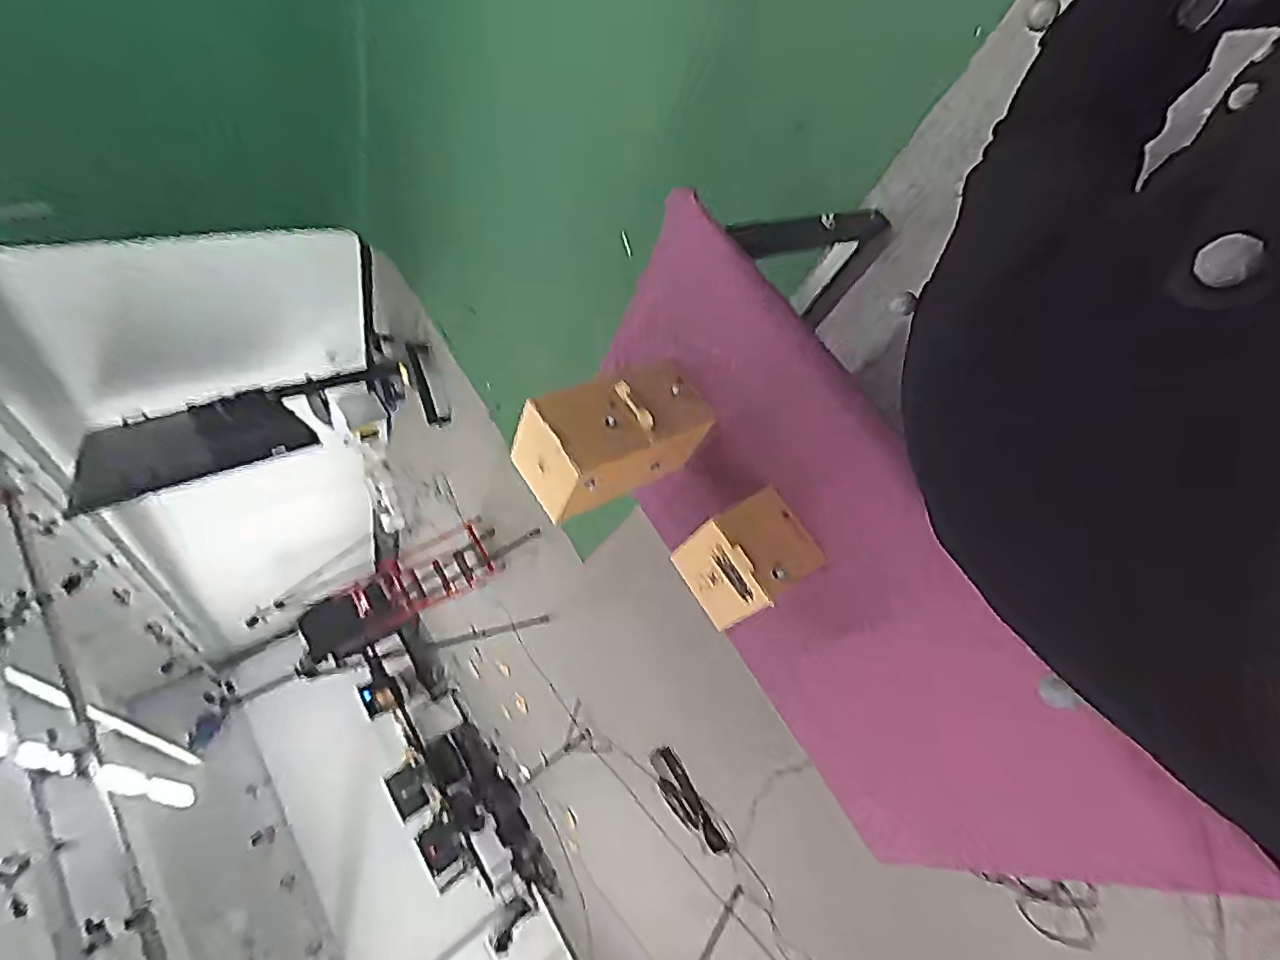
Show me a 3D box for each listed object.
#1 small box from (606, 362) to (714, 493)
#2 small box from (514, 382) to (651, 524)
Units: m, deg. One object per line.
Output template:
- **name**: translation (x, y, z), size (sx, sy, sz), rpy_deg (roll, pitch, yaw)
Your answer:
- **small box**: translation (0.018, -0.107, 1.081), size (0.168, 0.176, 0.179), rpy_deg (52, 143, 16)
- **small box**: translation (-0.106, -0.051, 0.990), size (0.168, 0.176, 0.179), rpy_deg (53, 142, 16)
